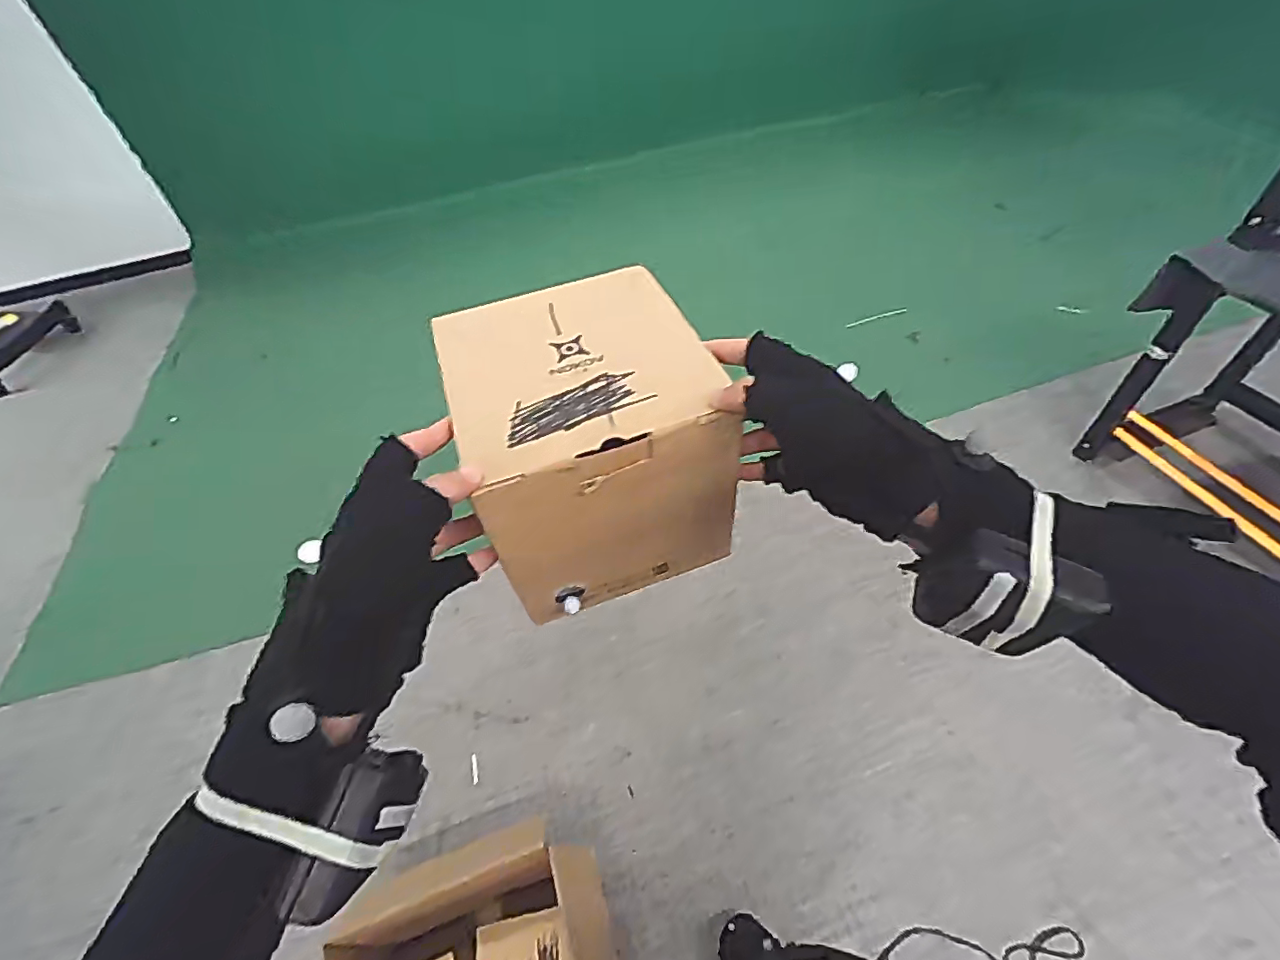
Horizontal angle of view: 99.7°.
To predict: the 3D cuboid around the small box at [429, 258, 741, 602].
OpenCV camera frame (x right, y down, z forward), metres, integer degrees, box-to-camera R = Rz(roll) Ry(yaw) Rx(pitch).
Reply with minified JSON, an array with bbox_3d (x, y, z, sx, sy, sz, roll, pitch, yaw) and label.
[{"bbox_3d":[-0.038,-0.030,0.403,0.168,0.176,0.179,-18,51,-9],"label":"small box"}]
